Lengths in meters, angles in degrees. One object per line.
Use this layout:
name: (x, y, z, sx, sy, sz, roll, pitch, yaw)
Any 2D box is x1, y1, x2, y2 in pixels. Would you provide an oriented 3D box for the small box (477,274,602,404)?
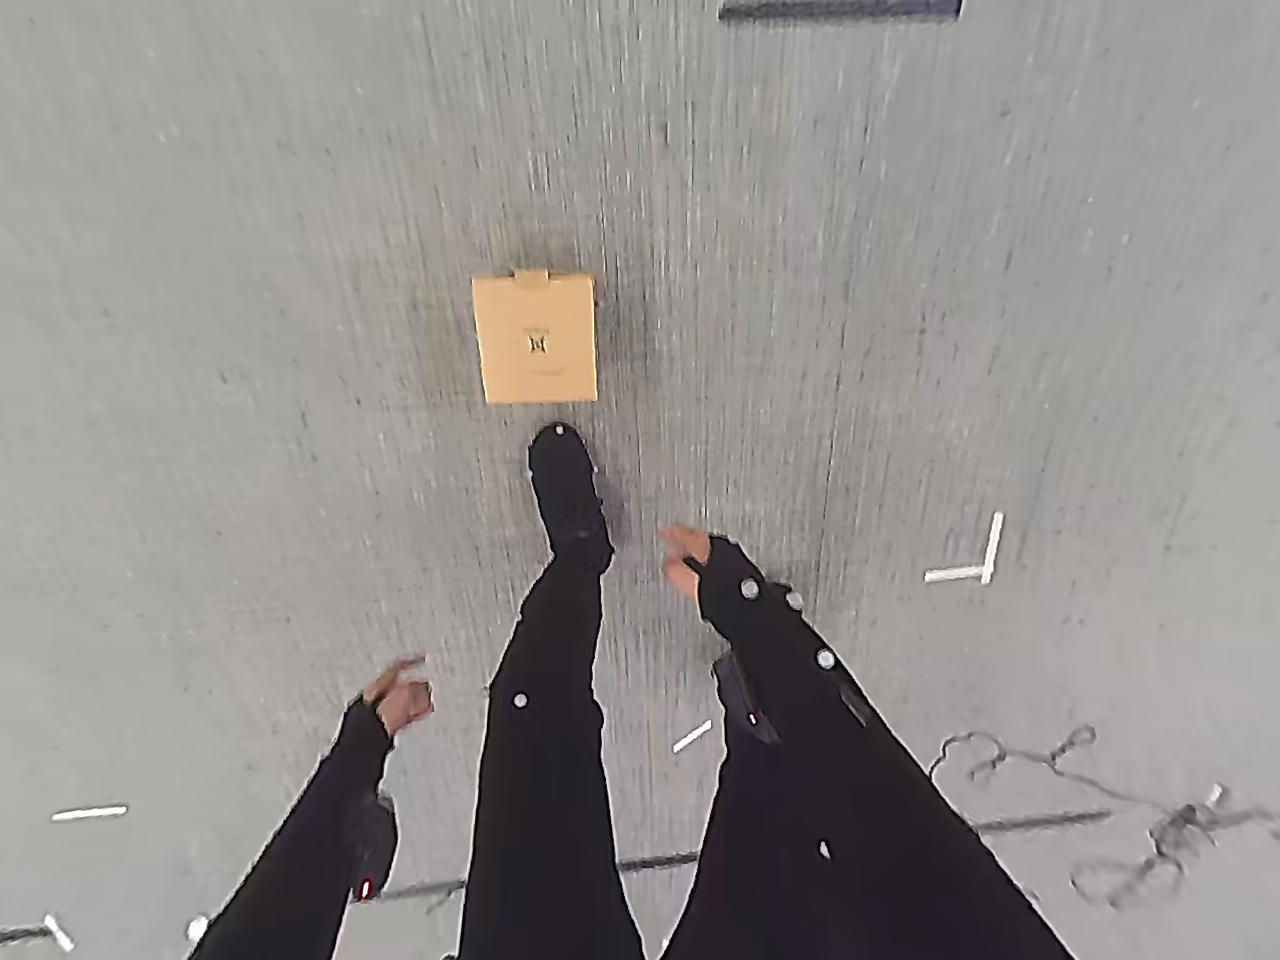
small box: (-0.144, -0.221, 0.828, 0.168, 0.176, 0.179, -2, 112, -3)
